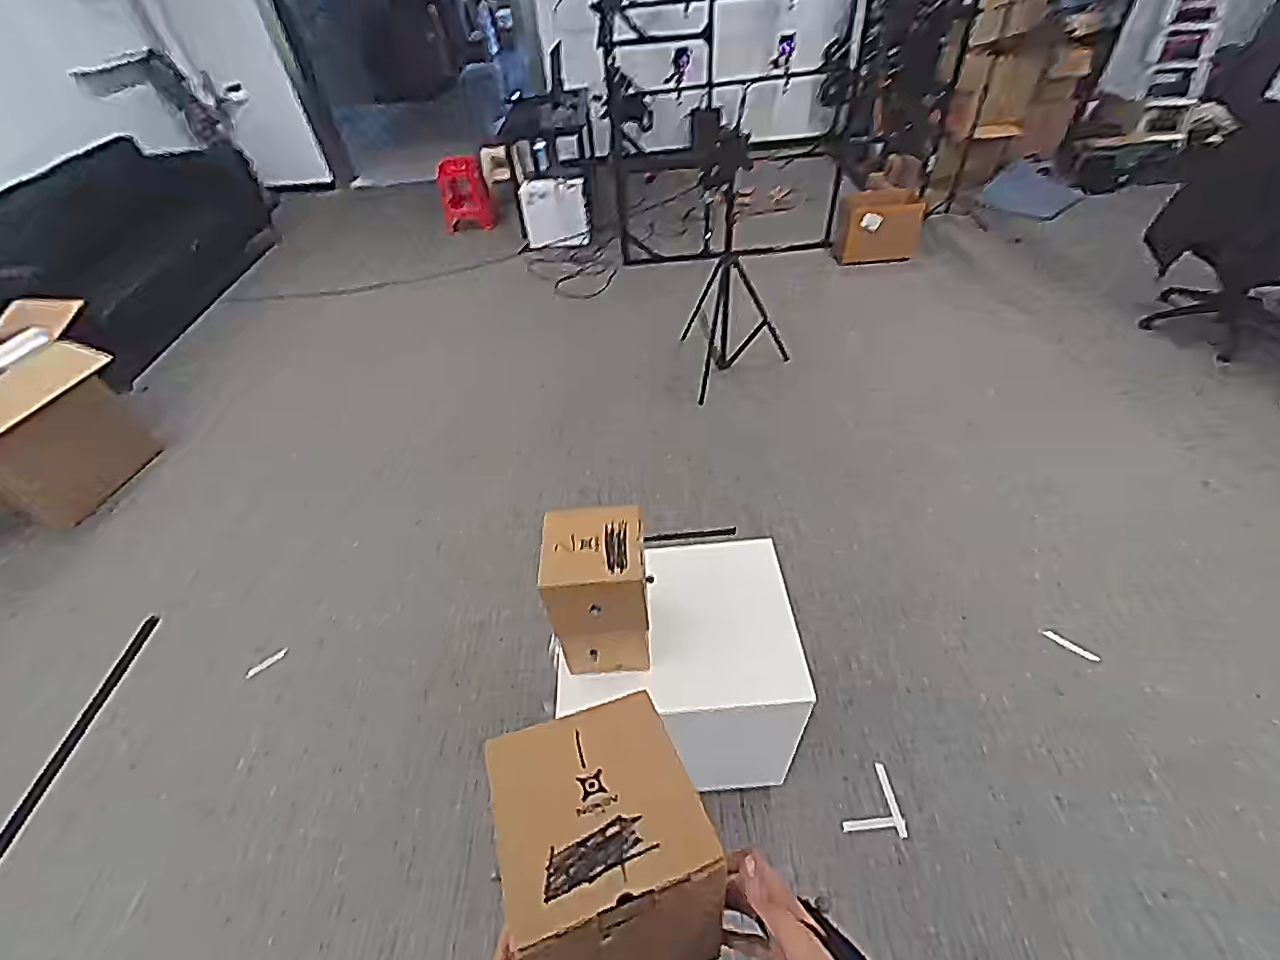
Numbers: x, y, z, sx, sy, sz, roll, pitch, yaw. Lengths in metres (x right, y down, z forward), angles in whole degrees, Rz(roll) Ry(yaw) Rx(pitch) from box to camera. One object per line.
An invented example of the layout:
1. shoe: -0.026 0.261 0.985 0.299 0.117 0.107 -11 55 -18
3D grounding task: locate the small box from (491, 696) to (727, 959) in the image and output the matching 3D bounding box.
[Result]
1. small box: -0.032 0.342 0.495 0.168 0.176 0.179 -11 29 -16

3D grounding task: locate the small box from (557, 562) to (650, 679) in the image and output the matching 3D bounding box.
1. small box: -0.068 0.291 1.101 0.168 0.176 0.179 -4 45 1
